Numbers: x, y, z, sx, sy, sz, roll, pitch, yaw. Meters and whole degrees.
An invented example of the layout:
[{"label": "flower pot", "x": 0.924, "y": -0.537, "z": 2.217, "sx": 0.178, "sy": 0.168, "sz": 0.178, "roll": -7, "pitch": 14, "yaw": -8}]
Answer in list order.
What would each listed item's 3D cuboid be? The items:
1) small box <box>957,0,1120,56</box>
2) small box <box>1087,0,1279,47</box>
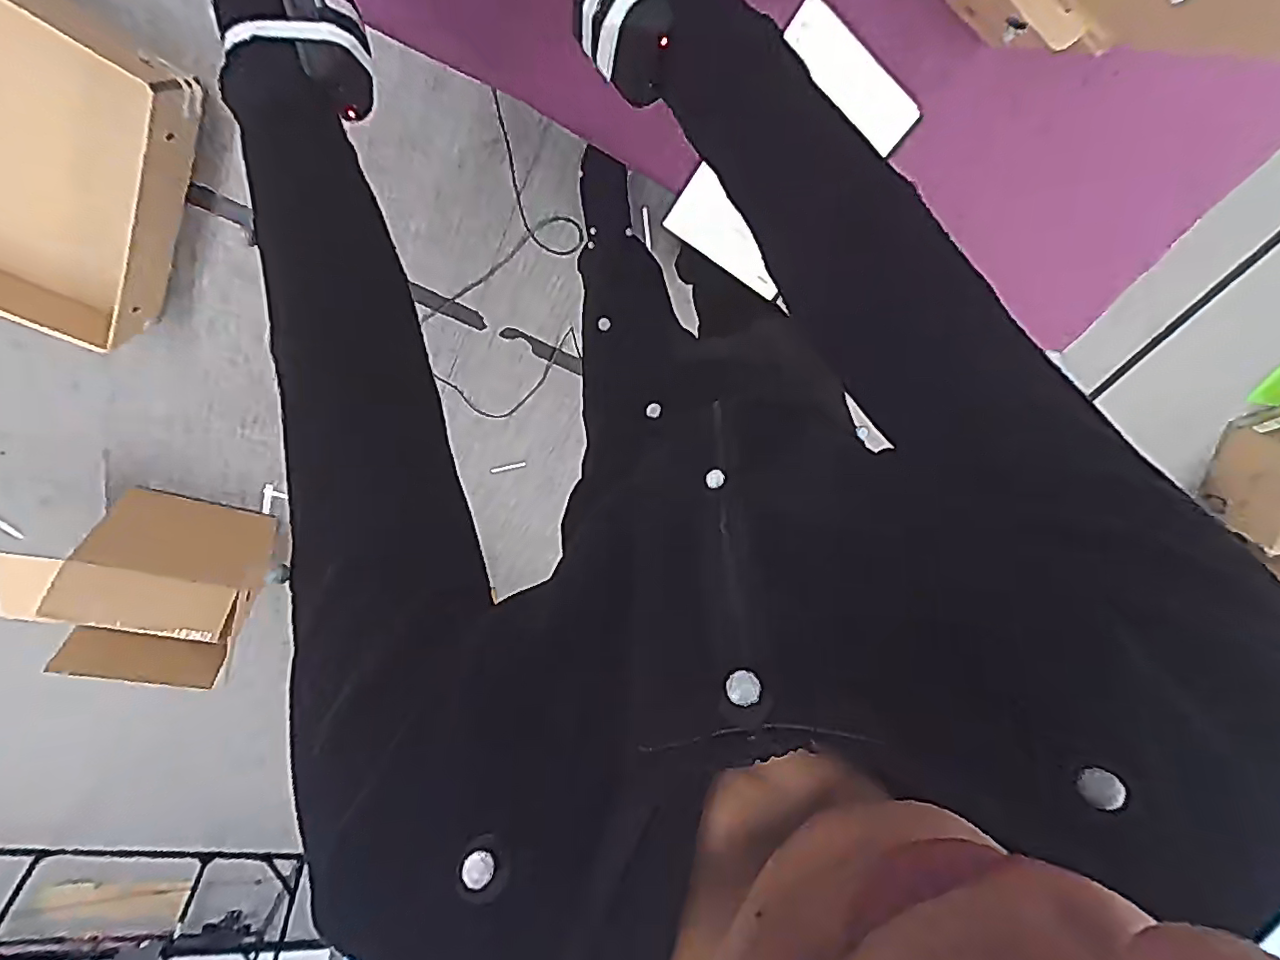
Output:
[{"label": "small box", "x": 0.371, "y": -0.509, "z": 0.459, "sx": 0.168, "sy": 0.176, "sz": 0.179, "roll": 19, "pitch": 124, "yaw": -25}, {"label": "small box", "x": 0.399, "y": -0.404, "z": 0.335, "sx": 0.179, "sy": 0.176, "sz": 0.168, "roll": 18, "pitch": 126, "yaw": -24}]
